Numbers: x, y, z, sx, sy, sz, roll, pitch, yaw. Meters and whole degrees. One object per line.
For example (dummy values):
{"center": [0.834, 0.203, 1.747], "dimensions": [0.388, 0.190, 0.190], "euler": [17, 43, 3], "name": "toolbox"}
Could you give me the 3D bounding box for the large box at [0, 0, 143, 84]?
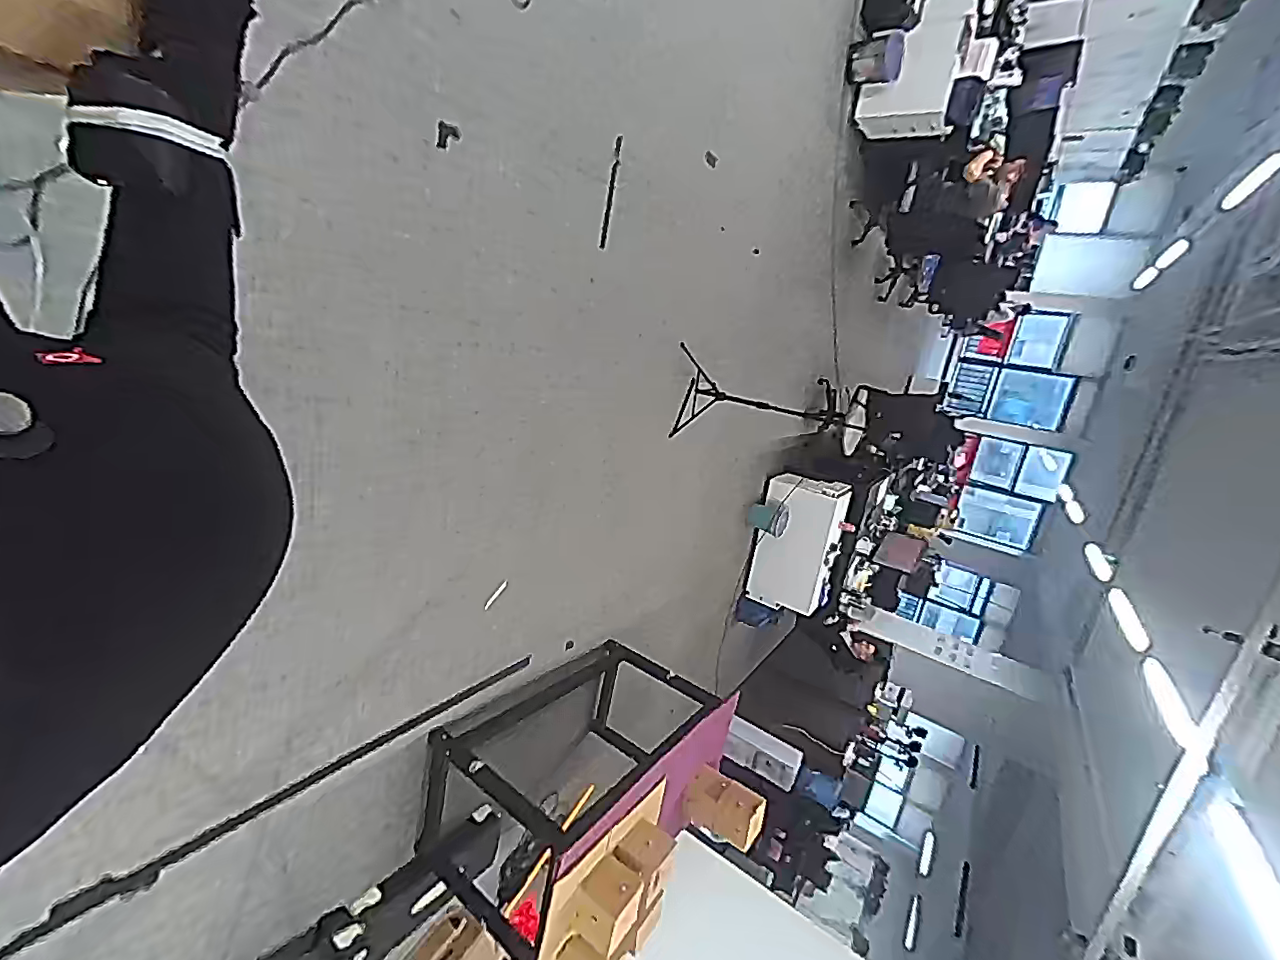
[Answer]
{"center": [-0.533, -0.445, 0.231], "dimensions": [0.408, 0.320, 0.320], "euler": [-11, 121, -61], "name": "large box"}
